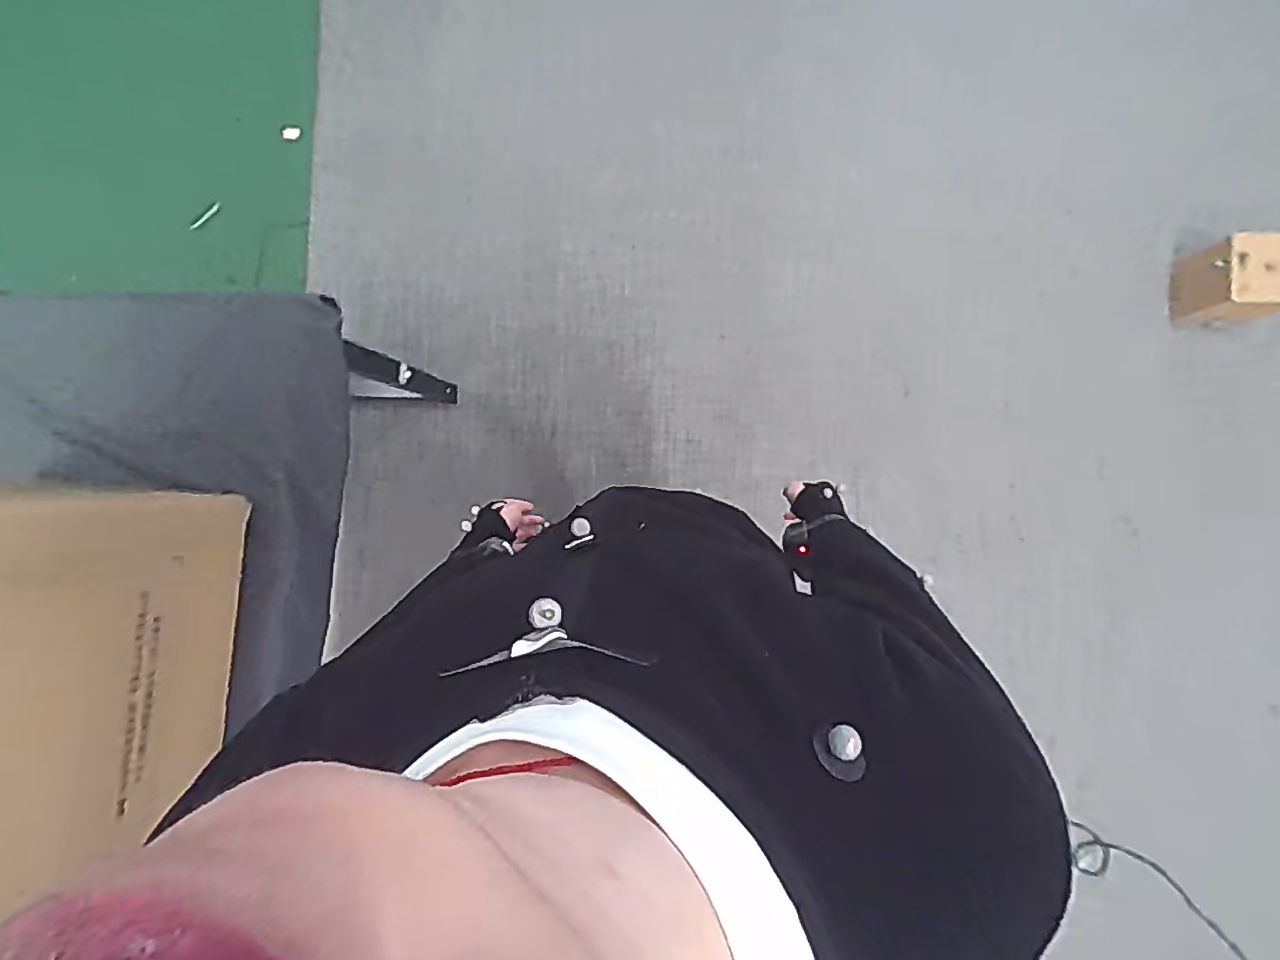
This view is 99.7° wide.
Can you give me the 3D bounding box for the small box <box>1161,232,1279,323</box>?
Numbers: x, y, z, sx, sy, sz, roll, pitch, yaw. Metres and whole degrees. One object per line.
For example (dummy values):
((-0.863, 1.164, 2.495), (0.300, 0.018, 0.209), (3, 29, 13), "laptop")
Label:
((1.481, -0.503, 1.360), (0.179, 0.176, 0.168), (4, 89, 4), "small box")
